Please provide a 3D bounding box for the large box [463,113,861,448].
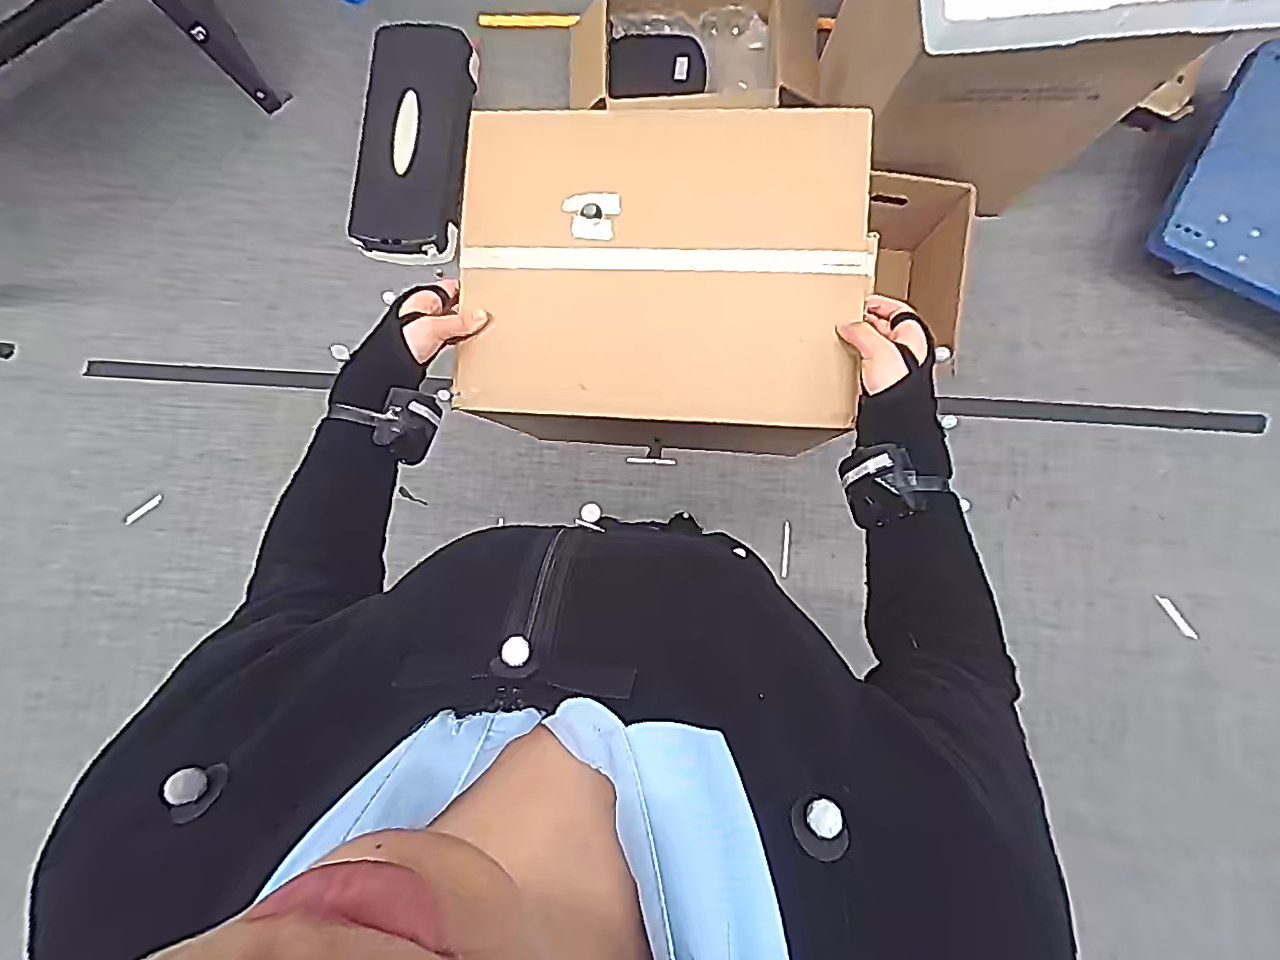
[{"bbox_3d":[0.036,-0.210,0.697,0.408,0.320,0.320,3,87,7],"label":"large box"}]
